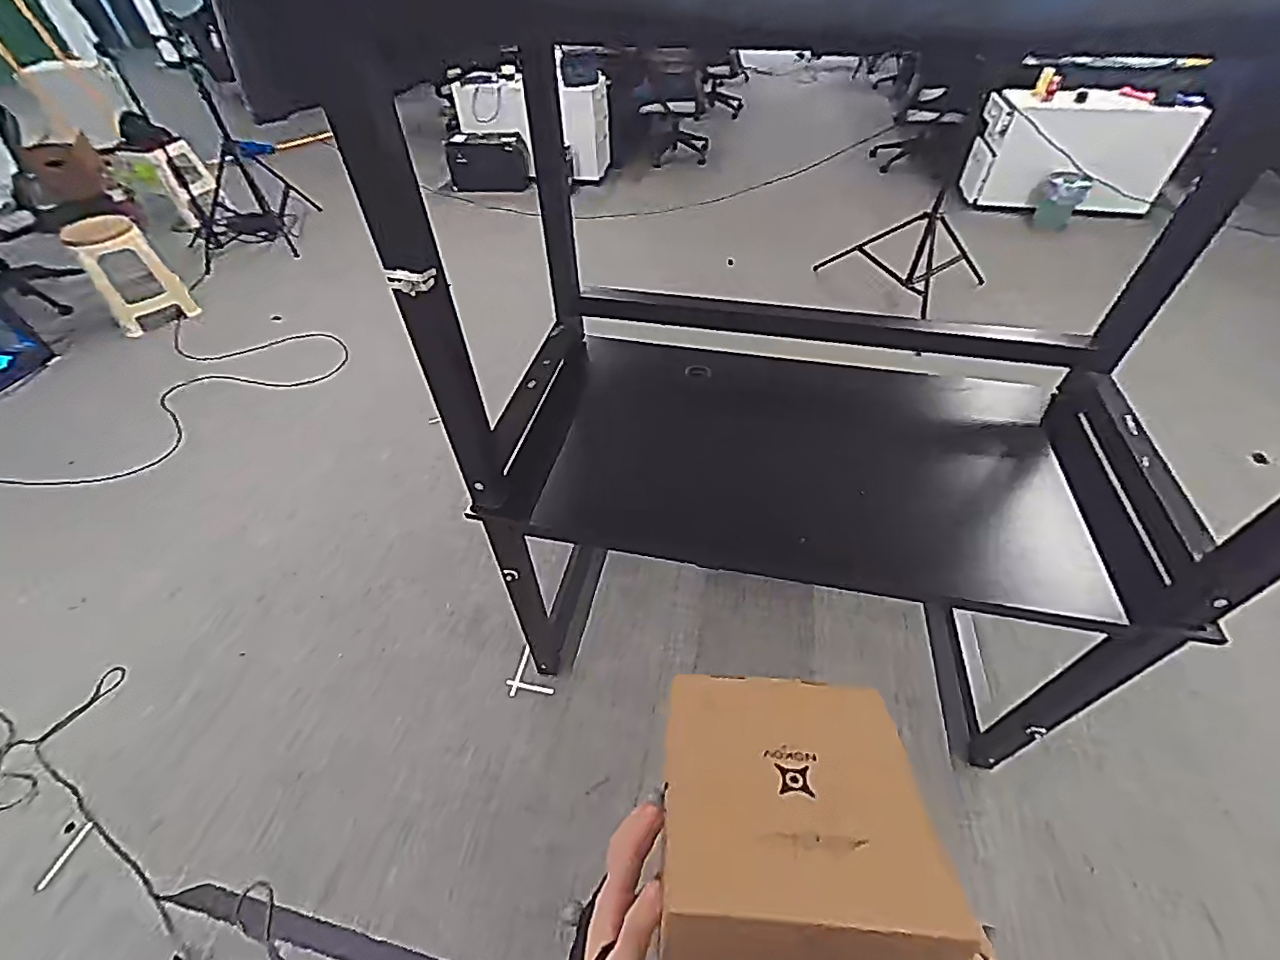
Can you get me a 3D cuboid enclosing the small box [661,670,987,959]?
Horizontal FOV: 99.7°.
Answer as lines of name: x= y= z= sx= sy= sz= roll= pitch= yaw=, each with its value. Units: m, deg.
small box: x=0.102 y=0.268 z=0.390 sx=0.168 sy=0.176 sz=0.179 roll=2 pitch=25 yaw=3
